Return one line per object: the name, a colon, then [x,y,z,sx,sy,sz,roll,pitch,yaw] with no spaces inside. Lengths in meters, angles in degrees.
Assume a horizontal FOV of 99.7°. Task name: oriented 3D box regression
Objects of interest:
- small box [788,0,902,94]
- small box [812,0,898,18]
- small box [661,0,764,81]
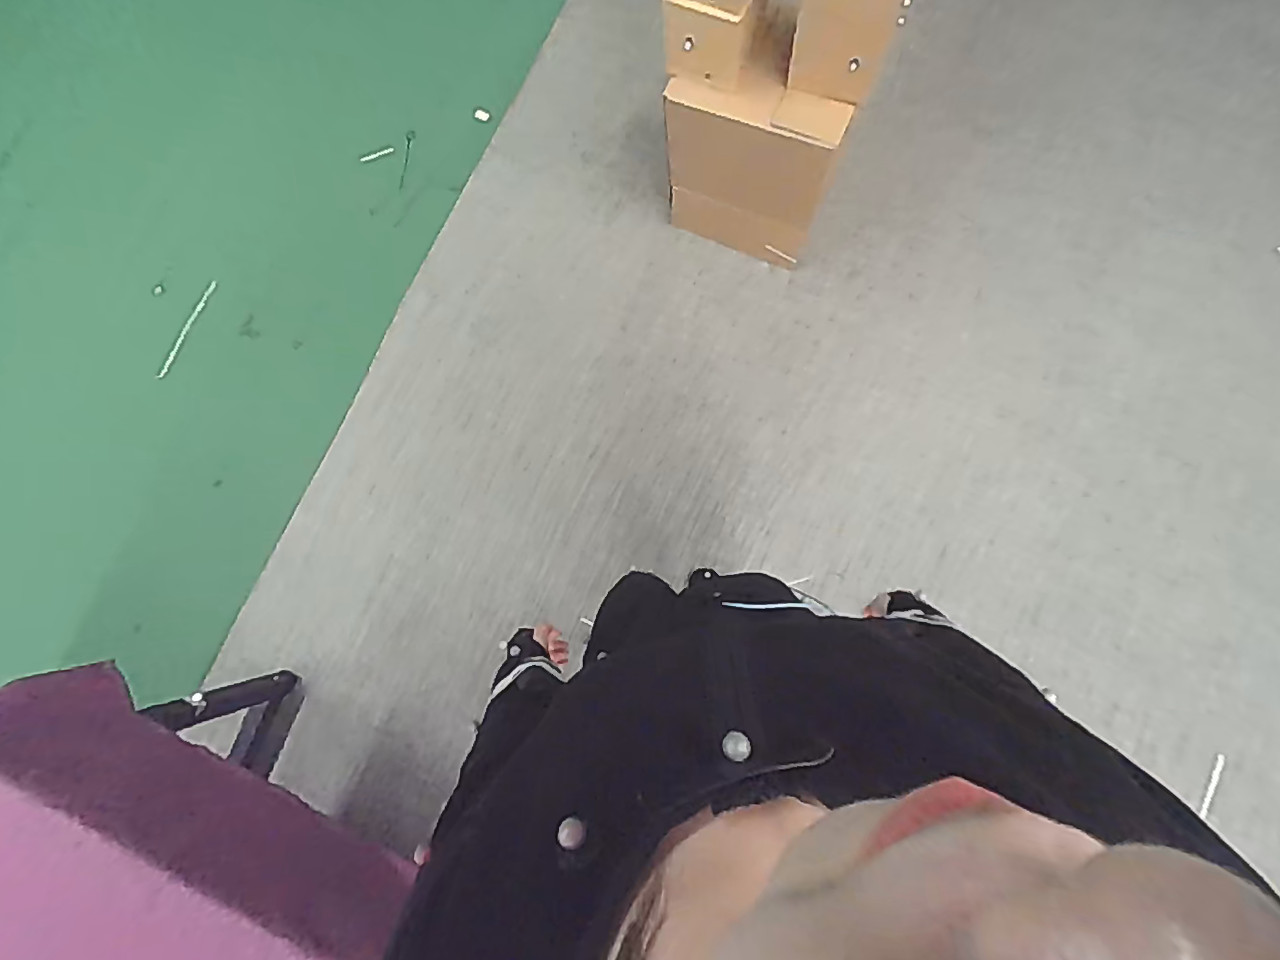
small box: [0.420,-0.932,1.094,0.179,0.176,0.168,23,84,10]
small box: [0.406,-0.956,0.932,0.179,0.176,0.168,24,84,10]
small box: [0.157,-0.988,1.124,0.168,0.176,0.179,25,84,7]
